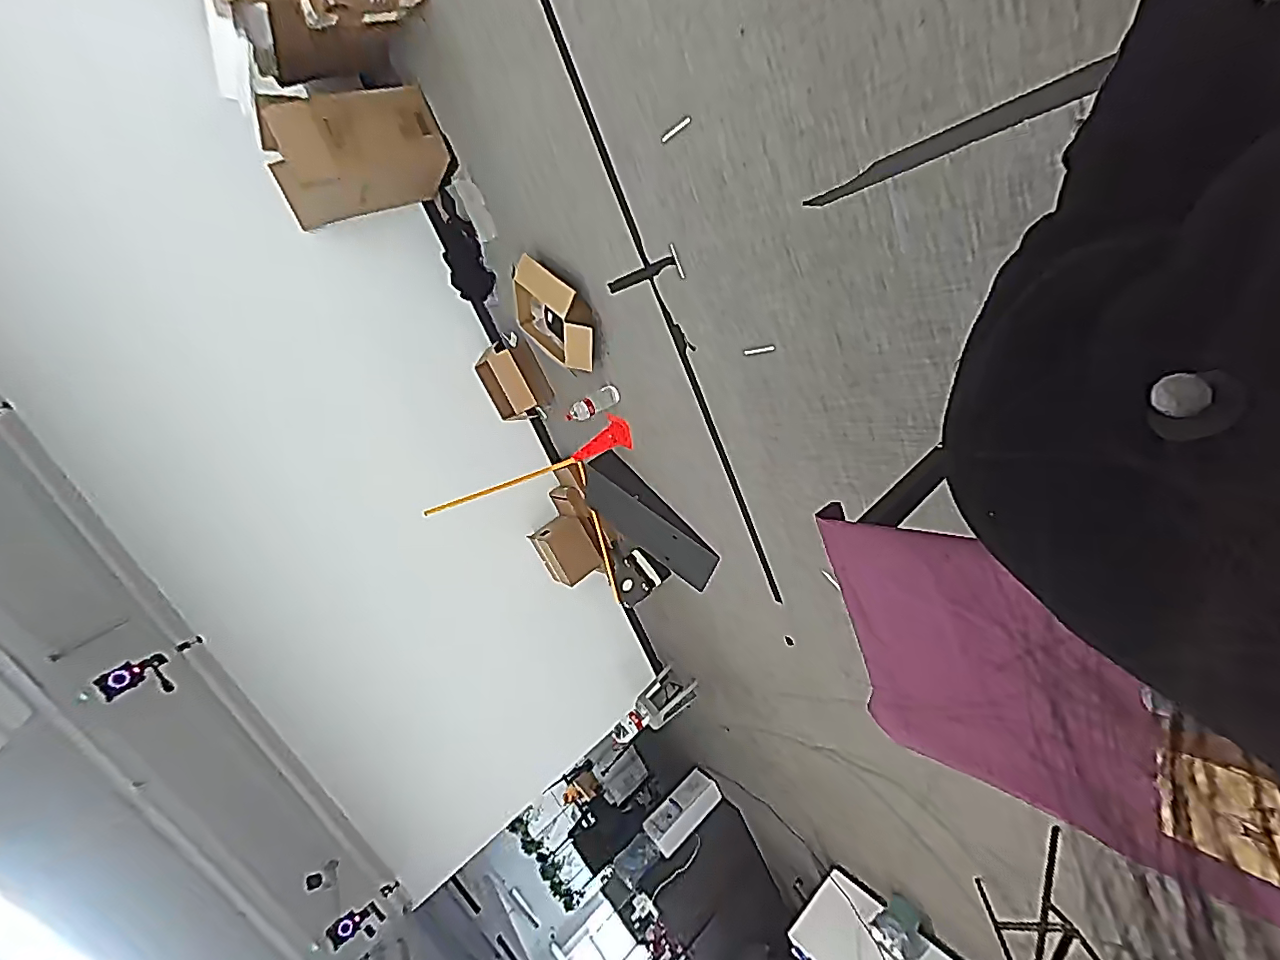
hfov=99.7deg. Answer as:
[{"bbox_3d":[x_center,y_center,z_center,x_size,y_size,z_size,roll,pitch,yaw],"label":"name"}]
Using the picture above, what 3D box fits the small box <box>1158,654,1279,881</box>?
[{"bbox_3d":[0.757,0.348,0.646,0.168,0.176,0.179,9,128,55],"label":"small box"}]
